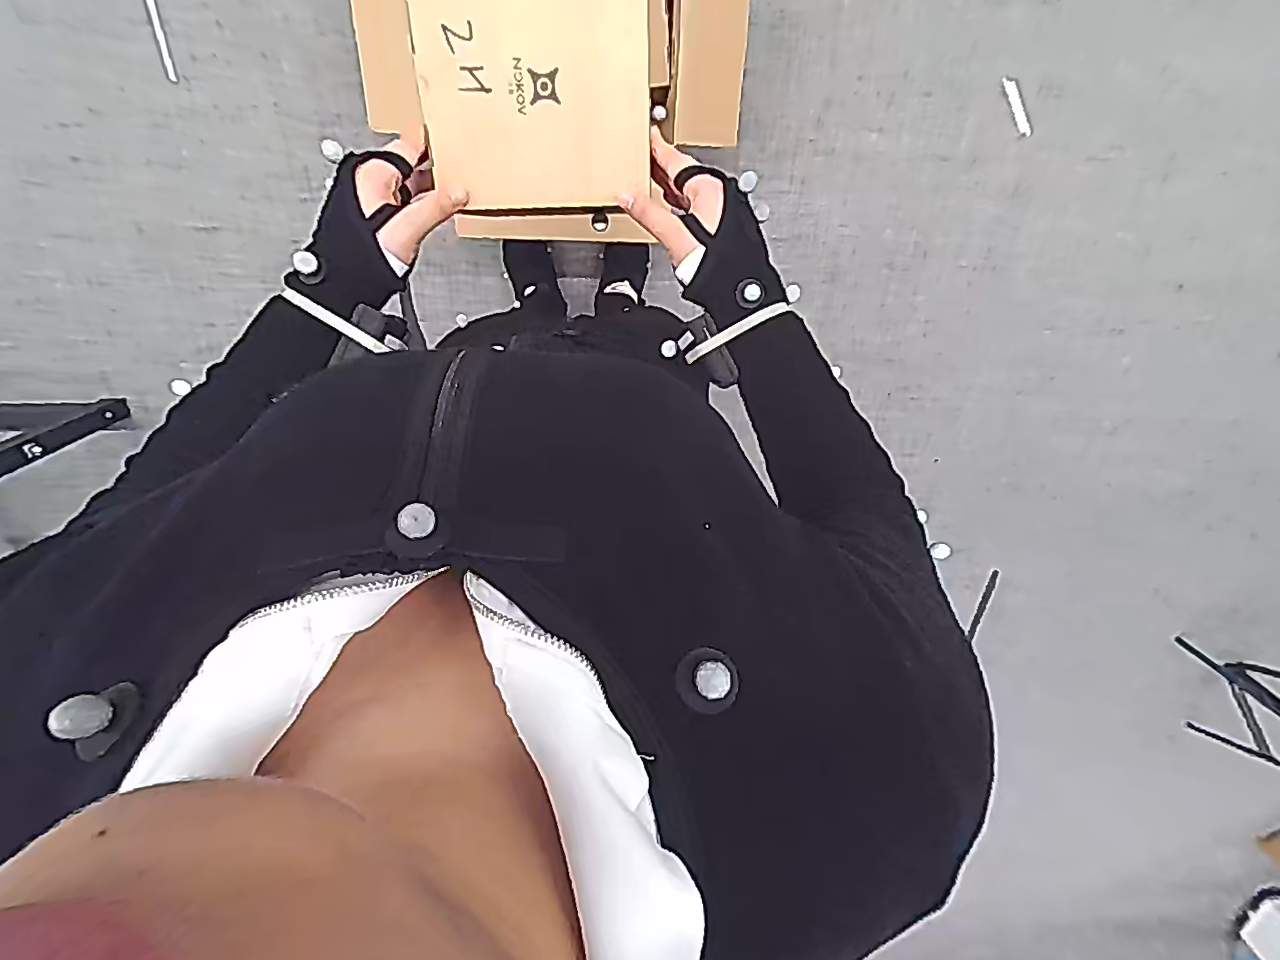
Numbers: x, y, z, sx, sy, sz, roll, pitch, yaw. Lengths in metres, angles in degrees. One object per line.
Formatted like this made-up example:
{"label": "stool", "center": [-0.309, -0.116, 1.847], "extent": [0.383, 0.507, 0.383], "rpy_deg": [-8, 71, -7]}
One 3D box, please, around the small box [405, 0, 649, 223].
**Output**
{"label": "small box", "center": [-0.082, -0.324, 0.483], "extent": [0.179, 0.176, 0.168], "rpy_deg": [-1, 114, 0]}
